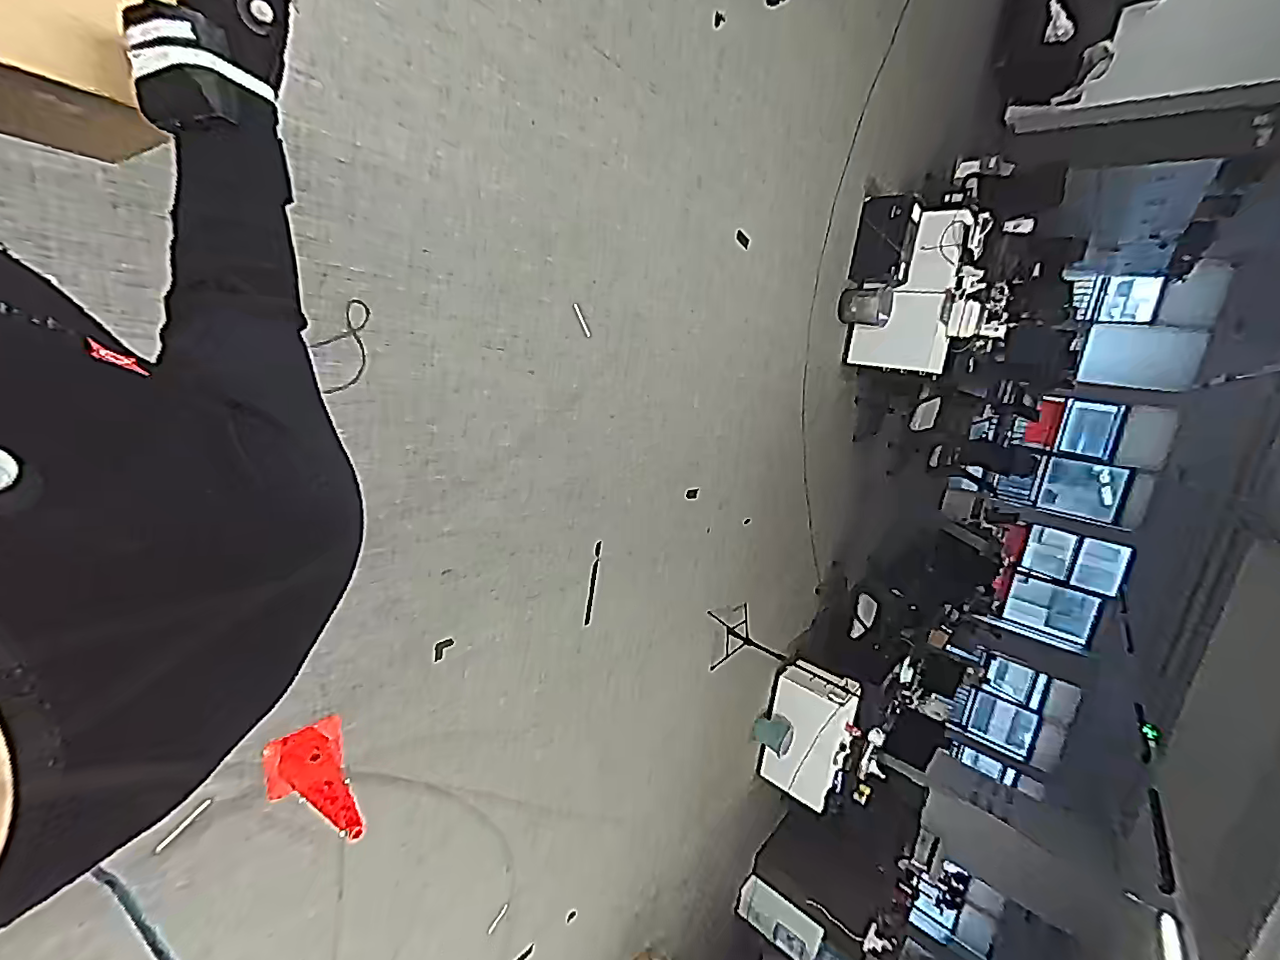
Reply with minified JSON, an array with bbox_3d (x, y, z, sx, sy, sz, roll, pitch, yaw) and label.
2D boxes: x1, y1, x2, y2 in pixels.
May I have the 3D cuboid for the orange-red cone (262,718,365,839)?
[{"bbox_3d":[-0.851,0.851,1.471,0.198,0.360,0.199,-12,112,-50],"label":"orange-red cone"}]

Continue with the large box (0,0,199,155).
[{"bbox_3d":[-0.558,-0.438,0.310,0.408,0.320,0.320,-9,112,-52],"label":"large box"}]
